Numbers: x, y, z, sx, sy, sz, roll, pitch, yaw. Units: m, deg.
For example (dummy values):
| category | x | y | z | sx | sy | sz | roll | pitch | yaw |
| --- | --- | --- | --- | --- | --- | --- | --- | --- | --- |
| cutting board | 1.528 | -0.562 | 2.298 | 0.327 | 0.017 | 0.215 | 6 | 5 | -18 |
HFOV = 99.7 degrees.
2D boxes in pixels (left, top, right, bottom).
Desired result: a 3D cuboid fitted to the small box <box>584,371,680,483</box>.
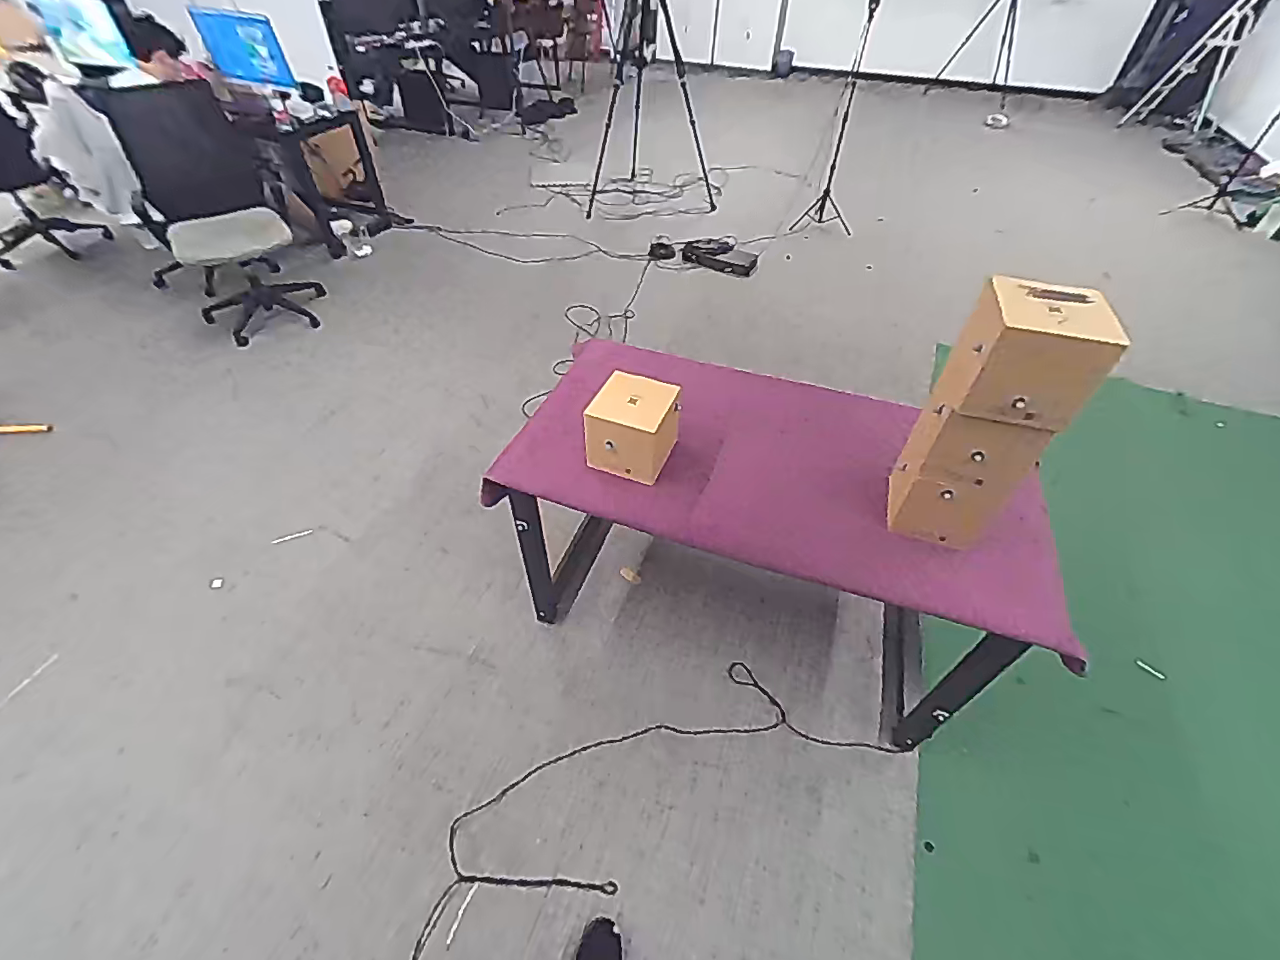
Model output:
| category | x | y | z | sx | sy | sz | roll | pitch | yaw |
| --- | --- | --- | --- | --- | --- | --- | --- | --- | --- |
| small box | -0.013 | -0.119 | 1.242 | 0.168 | 0.176 | 0.179 | 16 | 47 | 14 |

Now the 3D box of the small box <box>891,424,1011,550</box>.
| category | x | y | z | sx | sy | sz | roll | pitch | yaw |
| --- | --- | --- | --- | --- | --- | --- | --- | --- | --- |
| small box | 0.634 | 0.013 | 1.124 | 0.168 | 0.176 | 0.179 | 14 | 46 | 13 |

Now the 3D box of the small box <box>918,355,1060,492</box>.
| category | x | y | z | sx | sy | sz | roll | pitch | yaw |
| --- | --- | --- | --- | --- | --- | --- | --- | --- | --- |
| small box | 0.636 | -0.103 | 1.007 | 0.168 | 0.176 | 0.179 | 16 | 47 | 14 |
